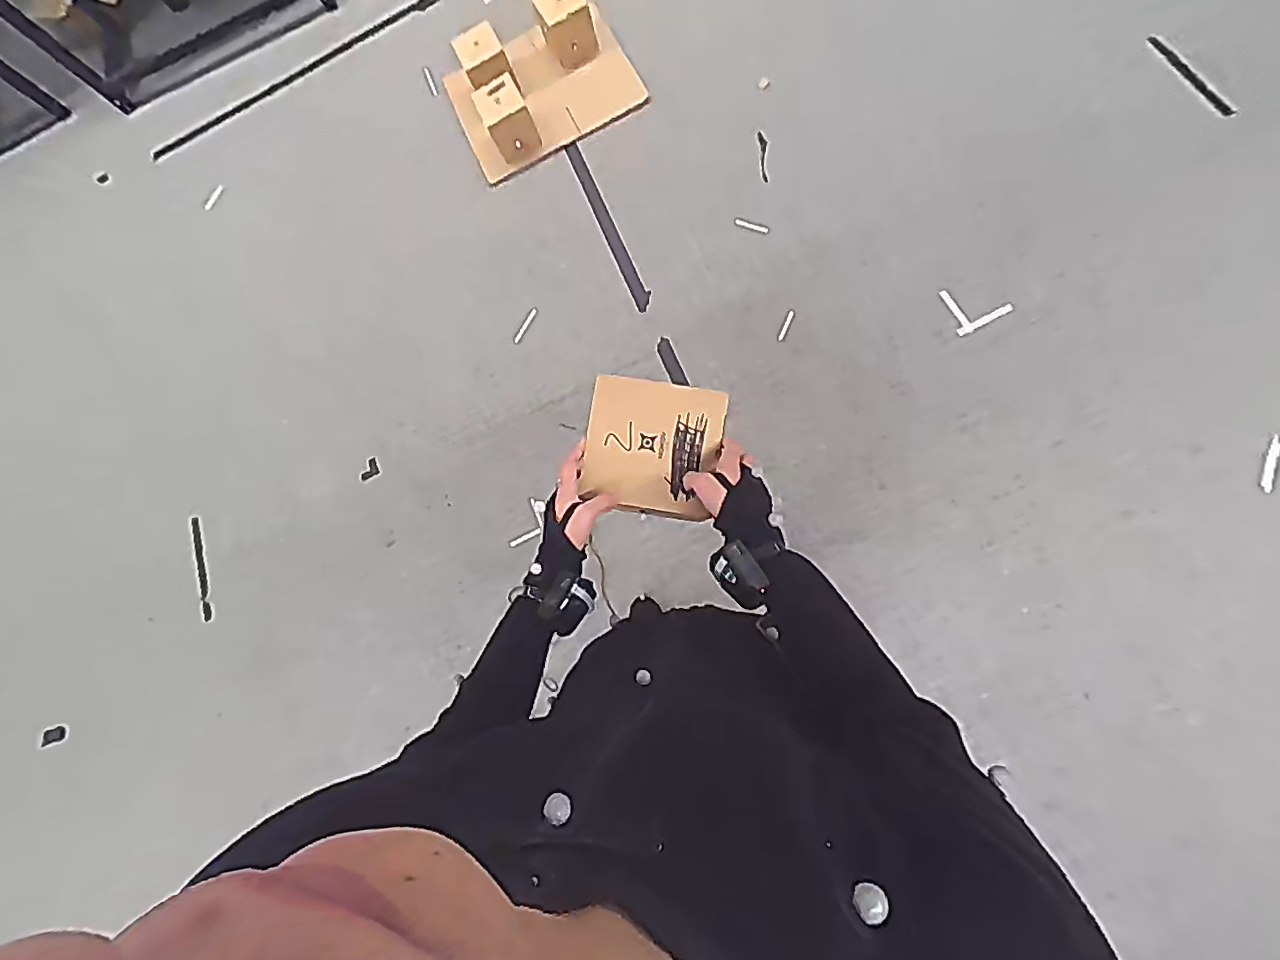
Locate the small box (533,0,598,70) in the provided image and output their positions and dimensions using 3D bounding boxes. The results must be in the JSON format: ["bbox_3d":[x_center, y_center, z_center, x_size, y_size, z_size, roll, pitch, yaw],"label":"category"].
[{"bbox_3d":[-0.283,-1.750,2.093,0.168,0.176,0.179,-30,74,3],"label":"small box"}]

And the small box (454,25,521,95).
[{"bbox_3d":[-0.594,-1.604,2.112,0.168,0.176,0.179,-27,74,5],"label":"small box"}]

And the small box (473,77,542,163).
[{"bbox_3d":[-0.496,-1.347,2.035,0.168,0.176,0.179,-27,75,5],"label":"small box"}]
